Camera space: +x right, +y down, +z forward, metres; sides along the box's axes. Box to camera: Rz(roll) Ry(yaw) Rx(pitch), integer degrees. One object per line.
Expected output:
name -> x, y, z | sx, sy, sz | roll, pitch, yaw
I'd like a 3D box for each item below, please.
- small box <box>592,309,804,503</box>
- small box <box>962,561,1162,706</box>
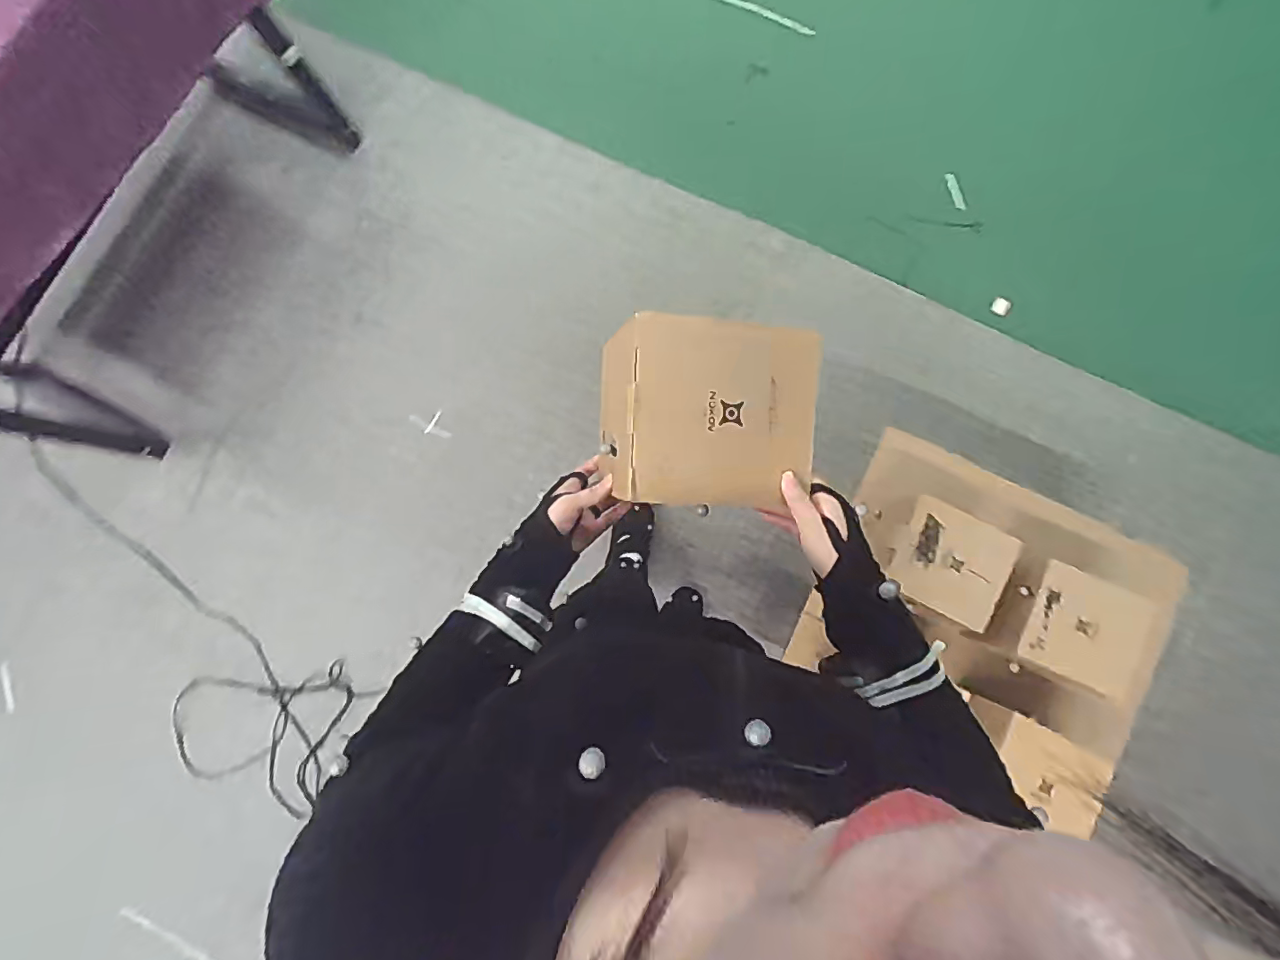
small box -> 0.046, -0.065, 0.558 | 0.179, 0.176, 0.168 | 1, 92, -14
small box -> 0.694, 0.243, 0.909 | 0.179, 0.176, 0.168 | 26, 83, 4
